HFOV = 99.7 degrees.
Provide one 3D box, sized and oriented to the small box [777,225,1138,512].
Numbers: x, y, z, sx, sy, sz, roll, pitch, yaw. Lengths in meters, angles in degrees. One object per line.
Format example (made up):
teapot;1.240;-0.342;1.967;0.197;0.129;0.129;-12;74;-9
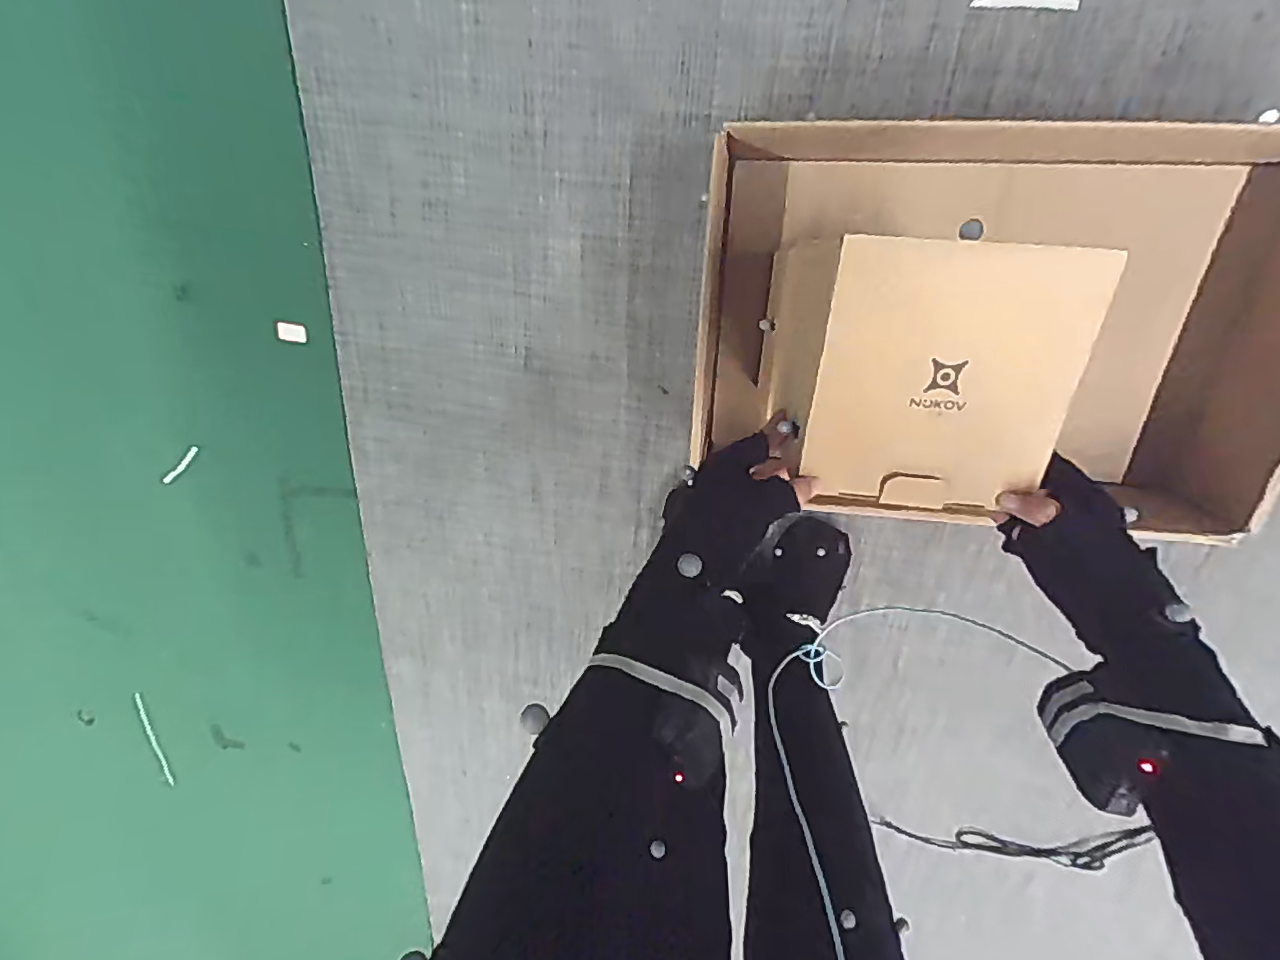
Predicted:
small box;0.209;-0.095;0.421;0.168;0.176;0.179;5;115;4

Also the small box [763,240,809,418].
small box;0.234;-0.167;0.606;0.168;0.176;0.179;6;113;7
